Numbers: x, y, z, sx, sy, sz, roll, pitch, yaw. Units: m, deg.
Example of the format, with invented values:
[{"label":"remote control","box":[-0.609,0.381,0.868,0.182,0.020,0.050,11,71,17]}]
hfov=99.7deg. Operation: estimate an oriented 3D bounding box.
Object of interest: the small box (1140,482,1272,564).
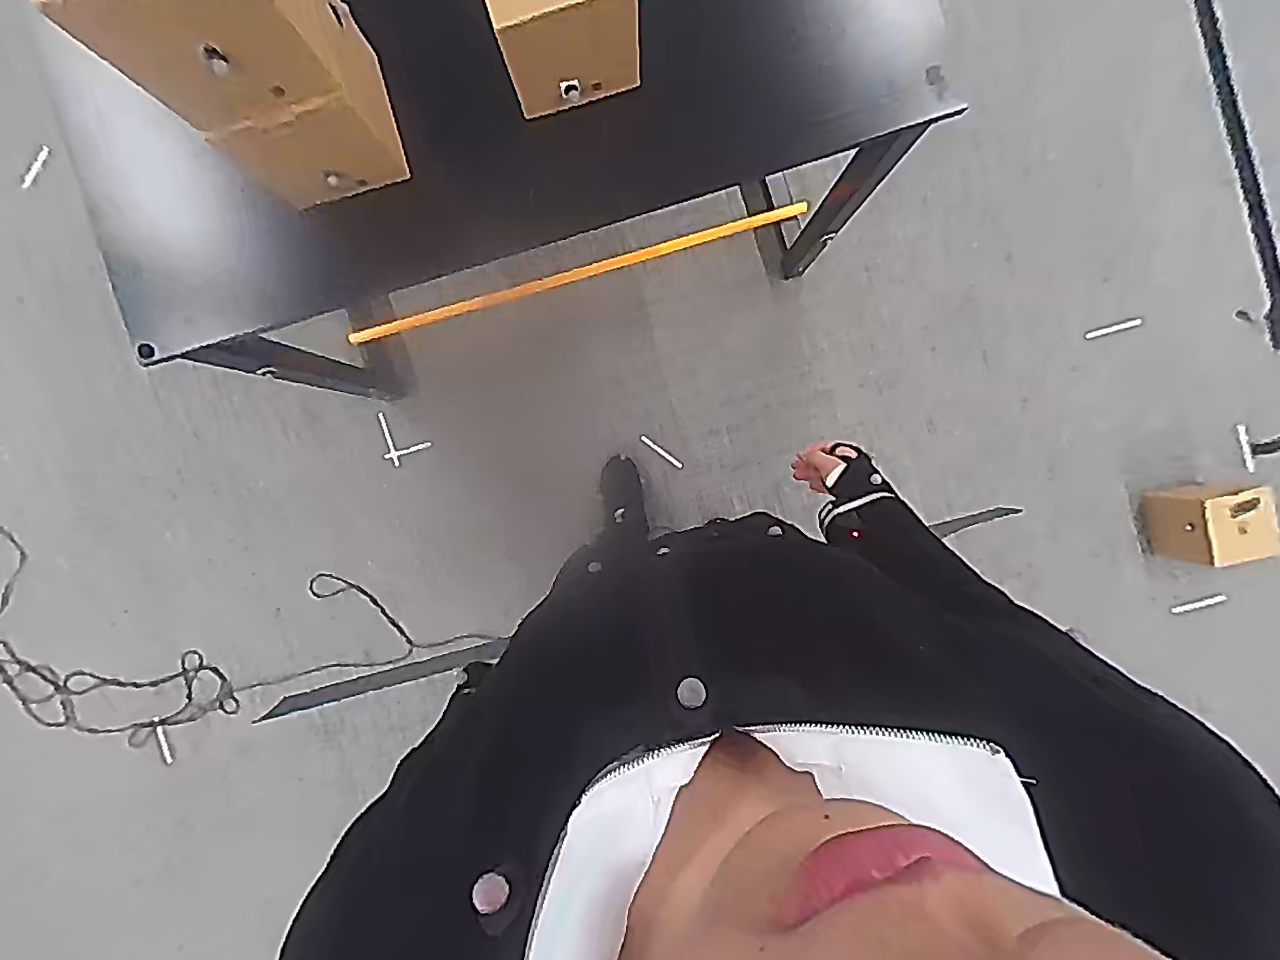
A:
[{"label":"small box","box":[1.469,0.105,1.415,0.168,0.176,0.179,-13,94,1]}]

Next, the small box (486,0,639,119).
[{"label":"small box","box":[-0.104,-0.596,0.661,0.168,0.176,0.179,-17,93,2]}]

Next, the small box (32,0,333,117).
[{"label":"small box","box":[-0.425,-0.479,0.501,0.168,0.176,0.179,-18,93,1]}]

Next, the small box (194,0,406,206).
[{"label":"small box","box":[-0.419,-0.477,0.665,0.168,0.176,0.179,-15,92,1]}]
